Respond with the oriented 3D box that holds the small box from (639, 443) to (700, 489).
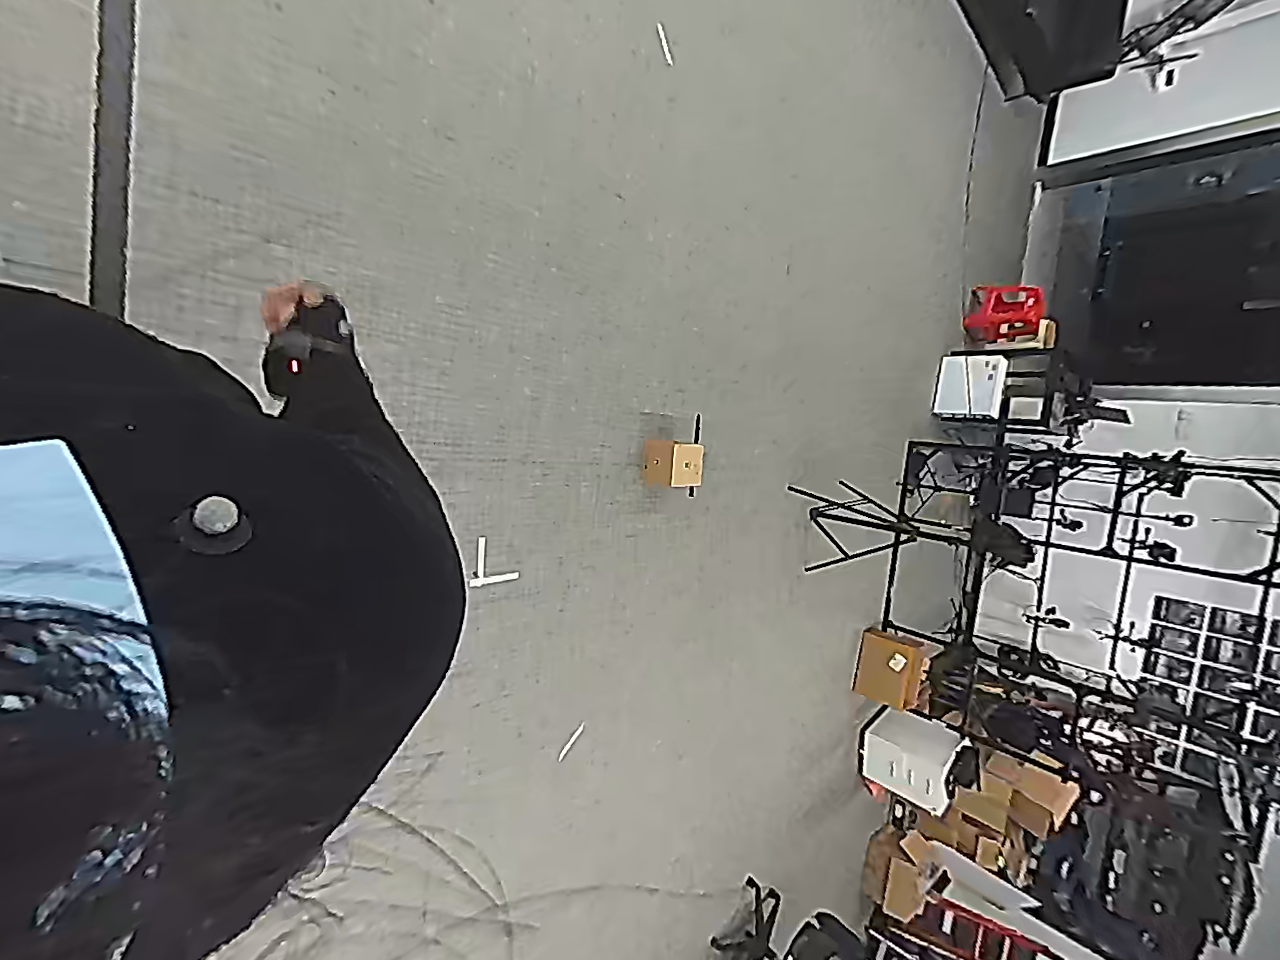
[{"bbox_3d":[0.112,-0.058,2.142,0.179,0.176,0.168,-2,99,-45],"label":"small box"}]
